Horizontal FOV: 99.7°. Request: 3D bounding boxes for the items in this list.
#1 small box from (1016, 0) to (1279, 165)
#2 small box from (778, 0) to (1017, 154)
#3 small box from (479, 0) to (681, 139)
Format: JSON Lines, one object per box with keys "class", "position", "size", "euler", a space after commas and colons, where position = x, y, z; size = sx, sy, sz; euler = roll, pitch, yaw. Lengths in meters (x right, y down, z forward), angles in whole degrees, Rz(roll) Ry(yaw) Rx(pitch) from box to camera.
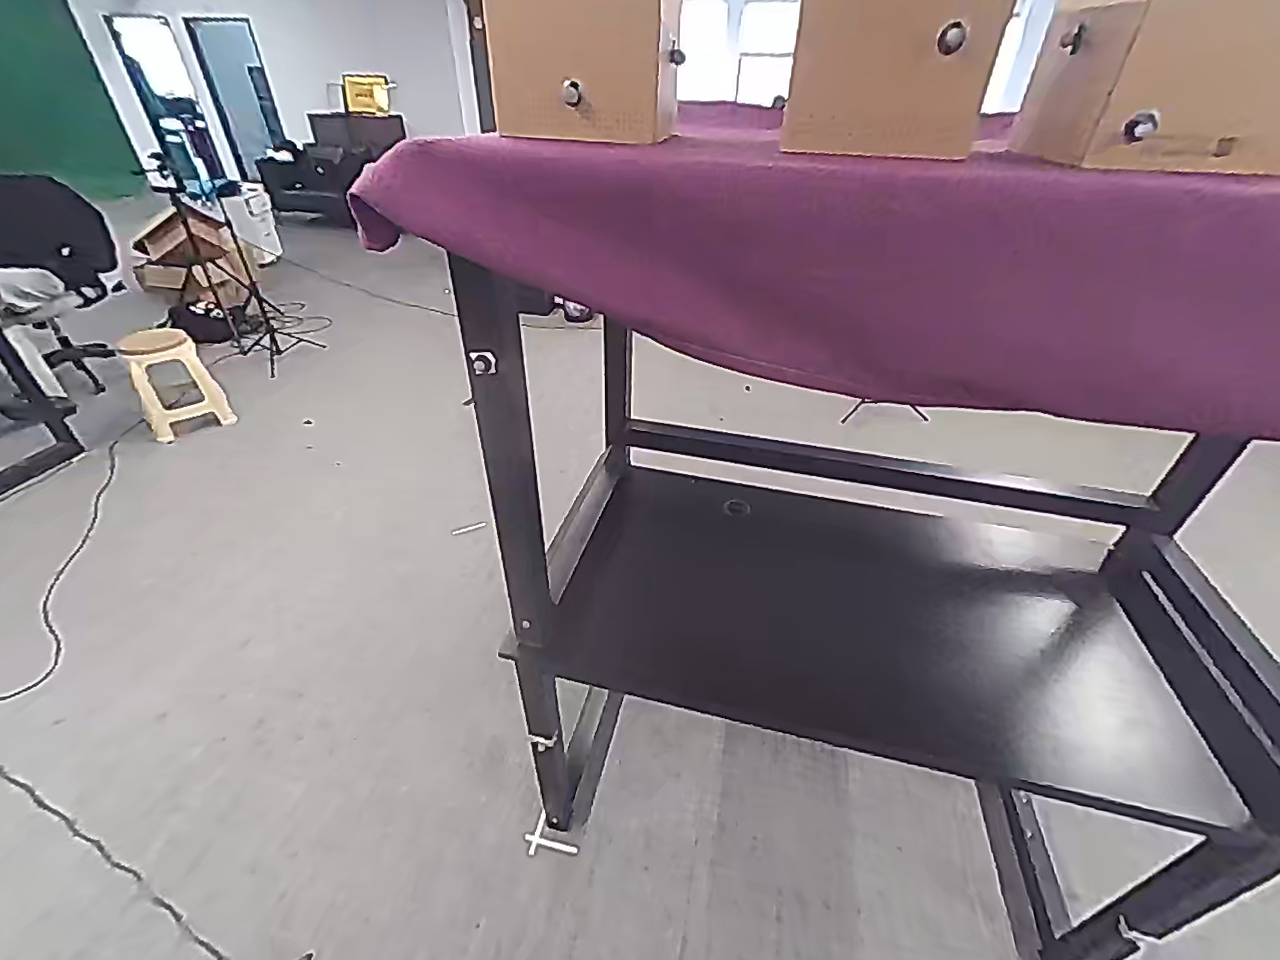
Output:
{"class": "small box", "position": [0.473, -0.377, 0.467], "size": [0.168, 0.176, 0.179], "euler": [6, 36, 7]}
{"class": "small box", "position": [0.239, -0.420, 0.522], "size": [0.179, 0.176, 0.168], "euler": [9, 36, 11]}
{"class": "small box", "position": [-0.053, -0.467, 0.573], "size": [0.179, 0.176, 0.168], "euler": [8, 36, 7]}
